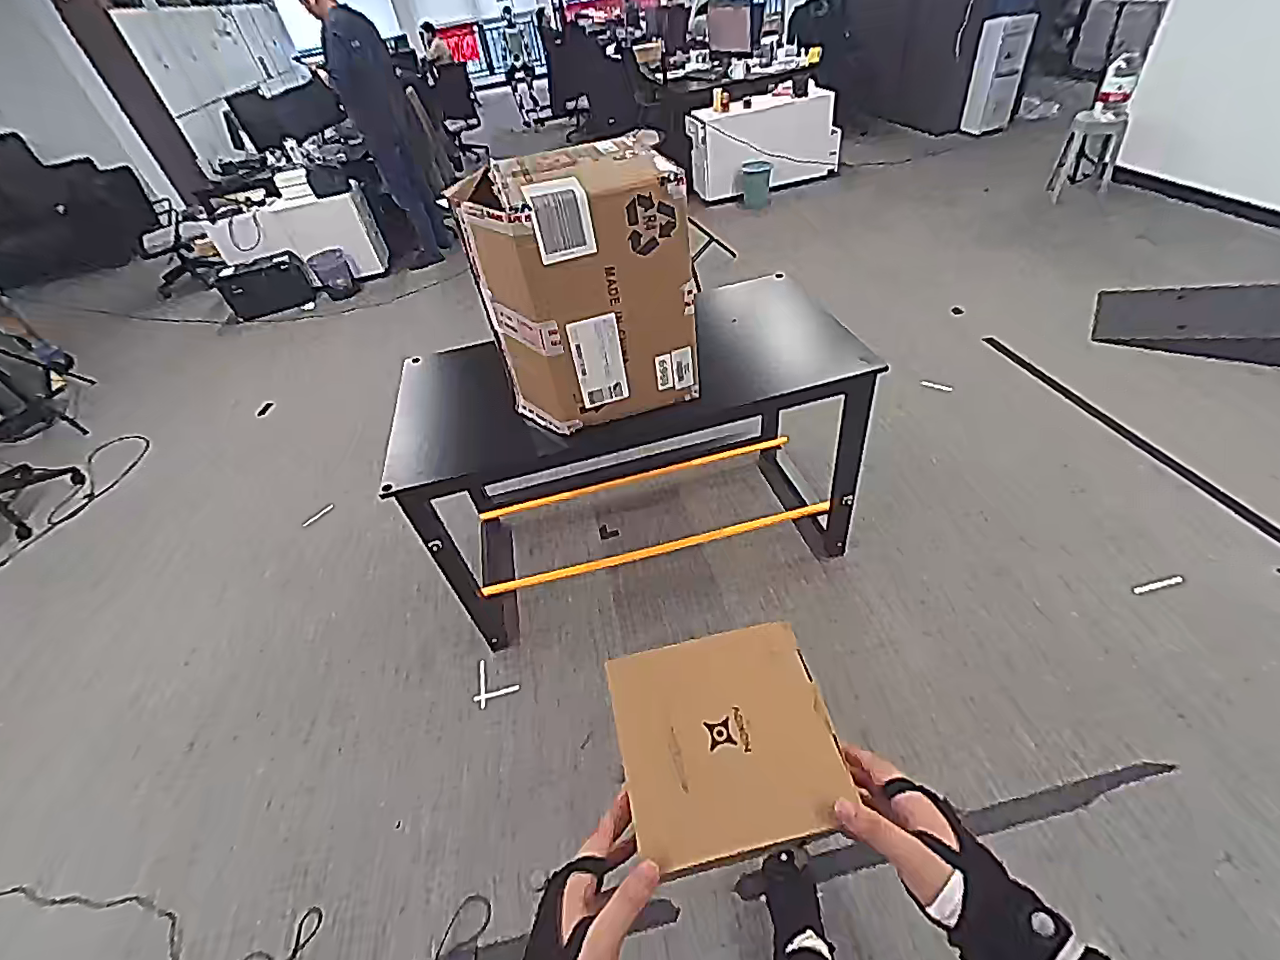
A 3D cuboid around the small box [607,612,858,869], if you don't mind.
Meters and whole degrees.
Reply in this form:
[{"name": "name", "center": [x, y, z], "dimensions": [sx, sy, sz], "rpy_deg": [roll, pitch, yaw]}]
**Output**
[{"name": "small box", "center": [0.075, 0.254, 0.522], "dimensions": [0.179, 0.176, 0.168], "rpy_deg": [-13, 51, -5]}]
